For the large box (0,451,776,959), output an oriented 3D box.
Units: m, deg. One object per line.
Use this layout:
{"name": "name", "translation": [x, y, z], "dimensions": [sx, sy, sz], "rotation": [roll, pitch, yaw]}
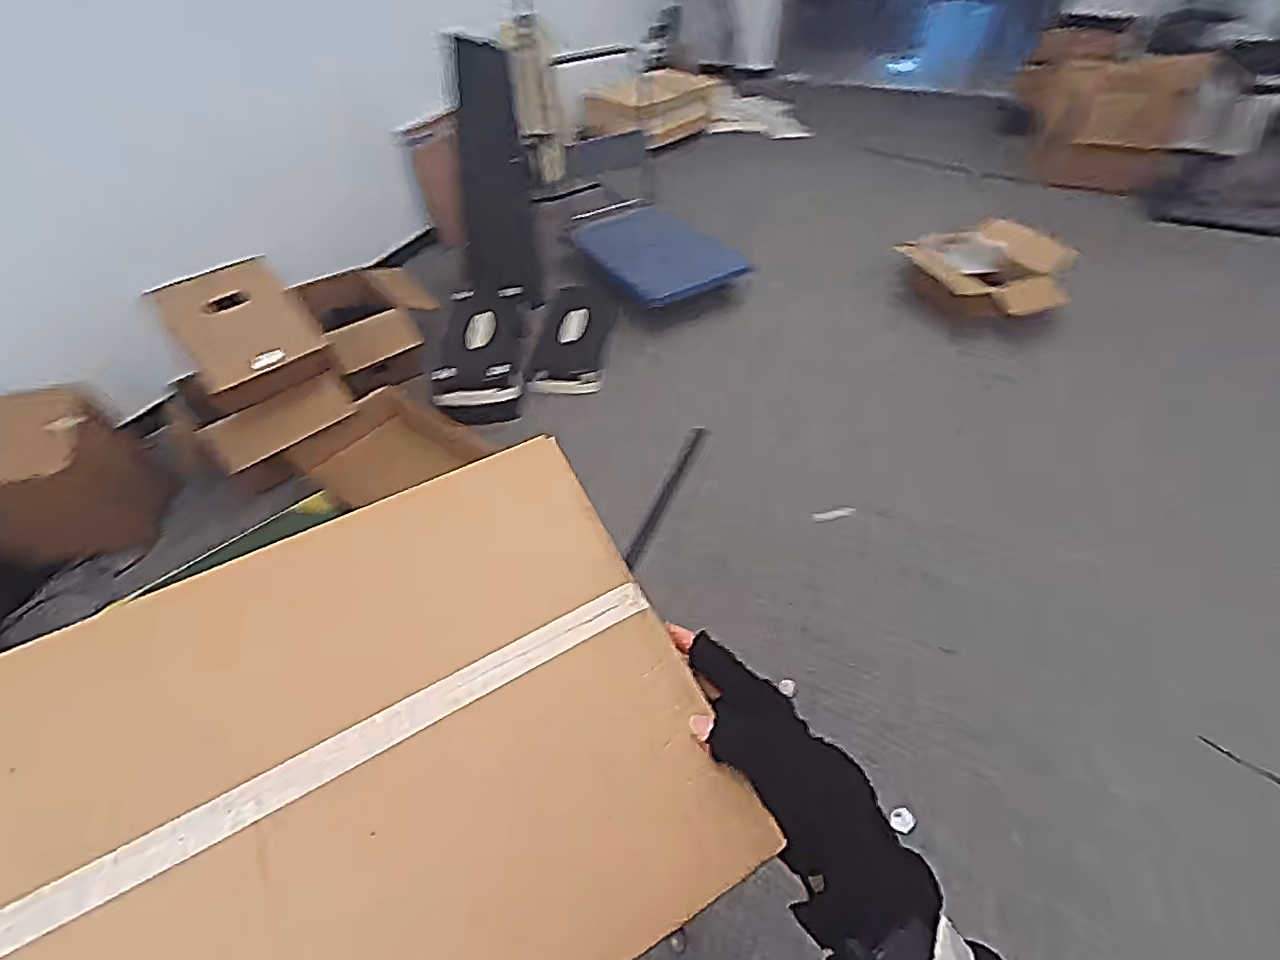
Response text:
{"name": "large box", "translation": [-0.168, 0.245, 0.434], "dimensions": [0.408, 0.320, 0.320], "rotation": [-24, 60, -15]}
